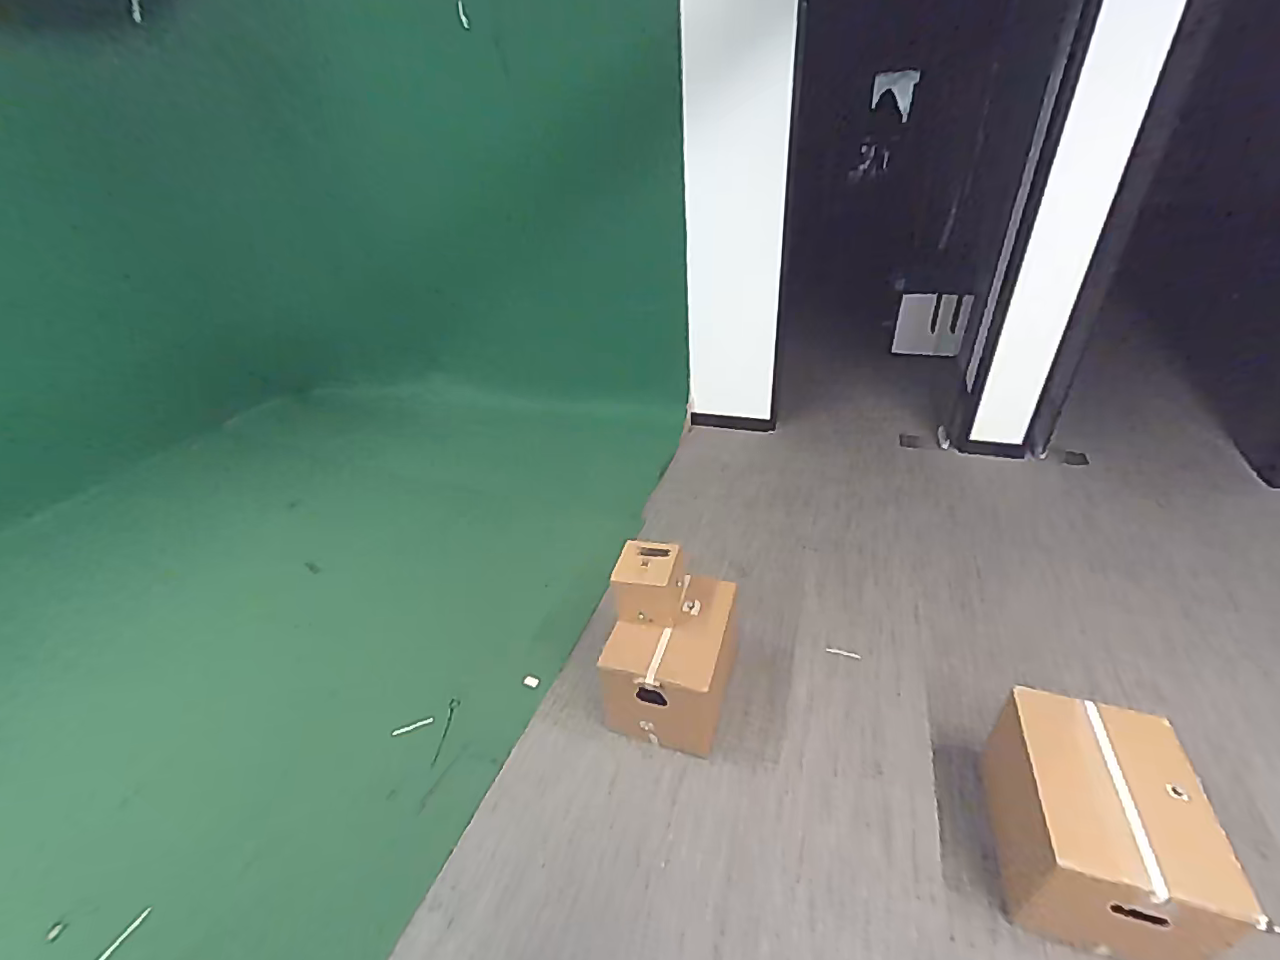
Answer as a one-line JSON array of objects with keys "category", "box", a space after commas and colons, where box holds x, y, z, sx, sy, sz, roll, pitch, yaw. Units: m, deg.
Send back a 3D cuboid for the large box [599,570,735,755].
[{"category": "large box", "box": [0.105, 0.542, 1.652, 0.320, 0.320, 0.408, 7, 35, 19]}]
